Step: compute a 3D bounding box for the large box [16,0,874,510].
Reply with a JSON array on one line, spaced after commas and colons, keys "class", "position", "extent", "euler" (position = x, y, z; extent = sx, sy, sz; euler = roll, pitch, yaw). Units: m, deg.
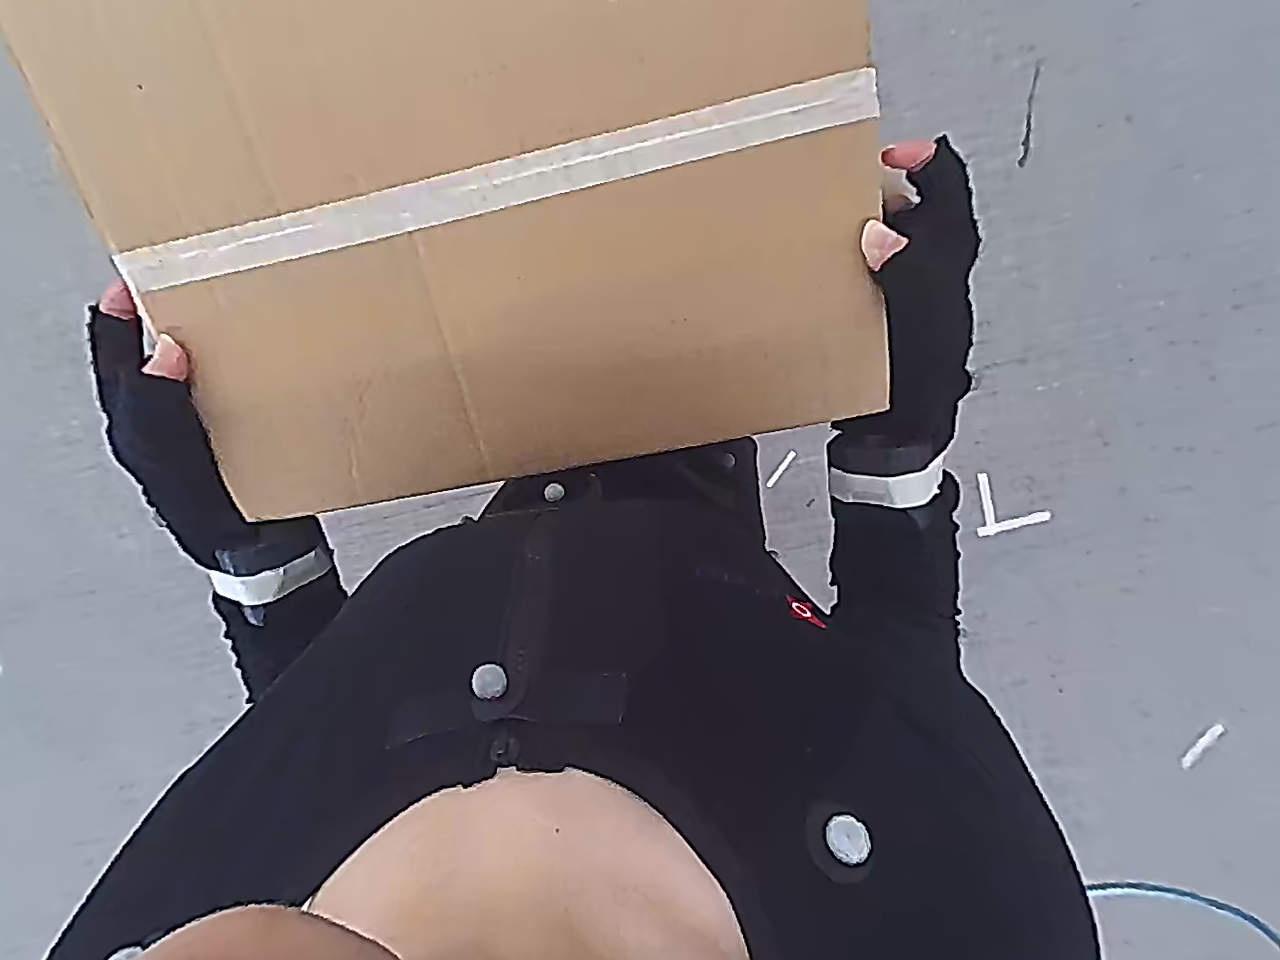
[{"class": "large box", "position": [-0.079, -0.209, 0.427], "extent": [0.408, 0.320, 0.320], "euler": [-10, 109, 6]}]
